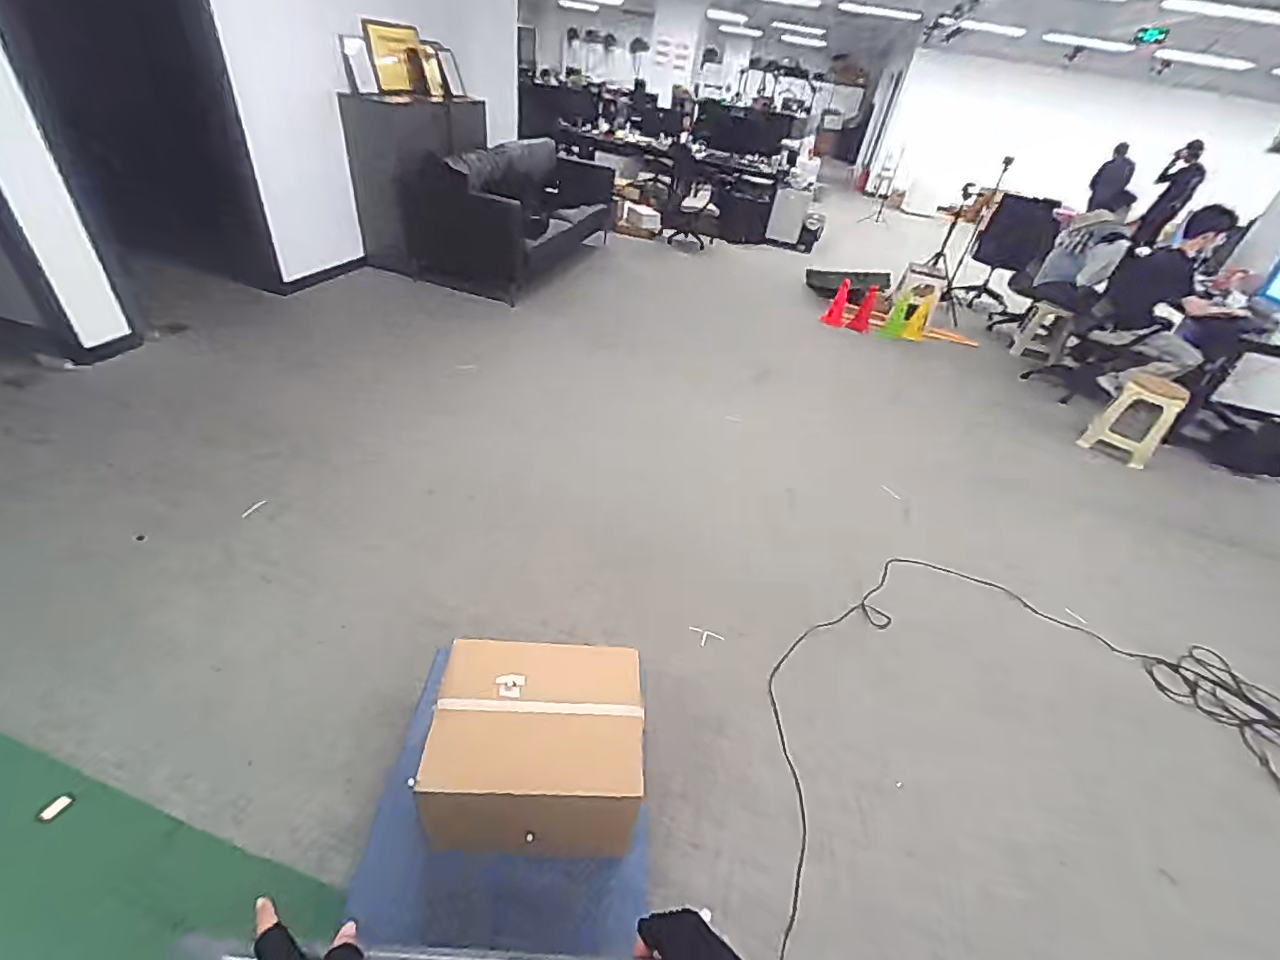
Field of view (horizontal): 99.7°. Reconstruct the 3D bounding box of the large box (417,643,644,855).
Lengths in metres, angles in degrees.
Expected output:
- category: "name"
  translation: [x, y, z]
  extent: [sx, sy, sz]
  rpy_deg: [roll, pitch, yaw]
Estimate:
- category: "large box"
  translation: [-0.212, 0.577, 1.160]
  extent: [0.408, 0.320, 0.320]
  rpy_deg: [5, 36, -6]
